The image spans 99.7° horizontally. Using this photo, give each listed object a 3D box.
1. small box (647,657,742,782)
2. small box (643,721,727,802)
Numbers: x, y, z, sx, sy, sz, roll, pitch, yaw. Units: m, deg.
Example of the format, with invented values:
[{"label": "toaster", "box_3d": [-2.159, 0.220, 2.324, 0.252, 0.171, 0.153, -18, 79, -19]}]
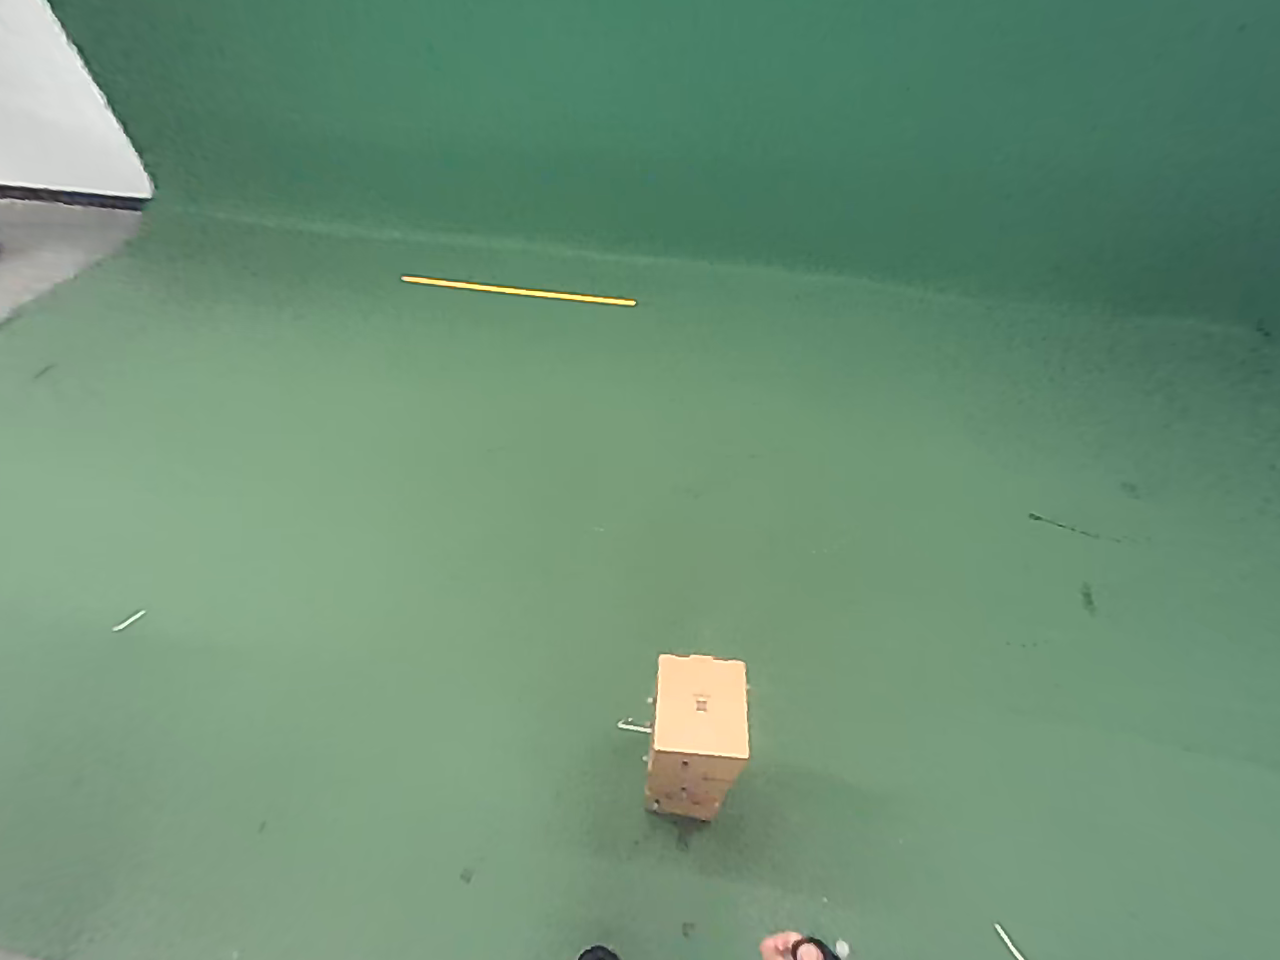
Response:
[{"label": "small box", "box_3d": [0.102, 0.465, 1.043, 0.168, 0.176, 0.179, 4, 48, 2]}, {"label": "small box", "box_3d": [0.098, 0.570, 1.167, 0.168, 0.176, 0.179, 6, 49, 4]}]
